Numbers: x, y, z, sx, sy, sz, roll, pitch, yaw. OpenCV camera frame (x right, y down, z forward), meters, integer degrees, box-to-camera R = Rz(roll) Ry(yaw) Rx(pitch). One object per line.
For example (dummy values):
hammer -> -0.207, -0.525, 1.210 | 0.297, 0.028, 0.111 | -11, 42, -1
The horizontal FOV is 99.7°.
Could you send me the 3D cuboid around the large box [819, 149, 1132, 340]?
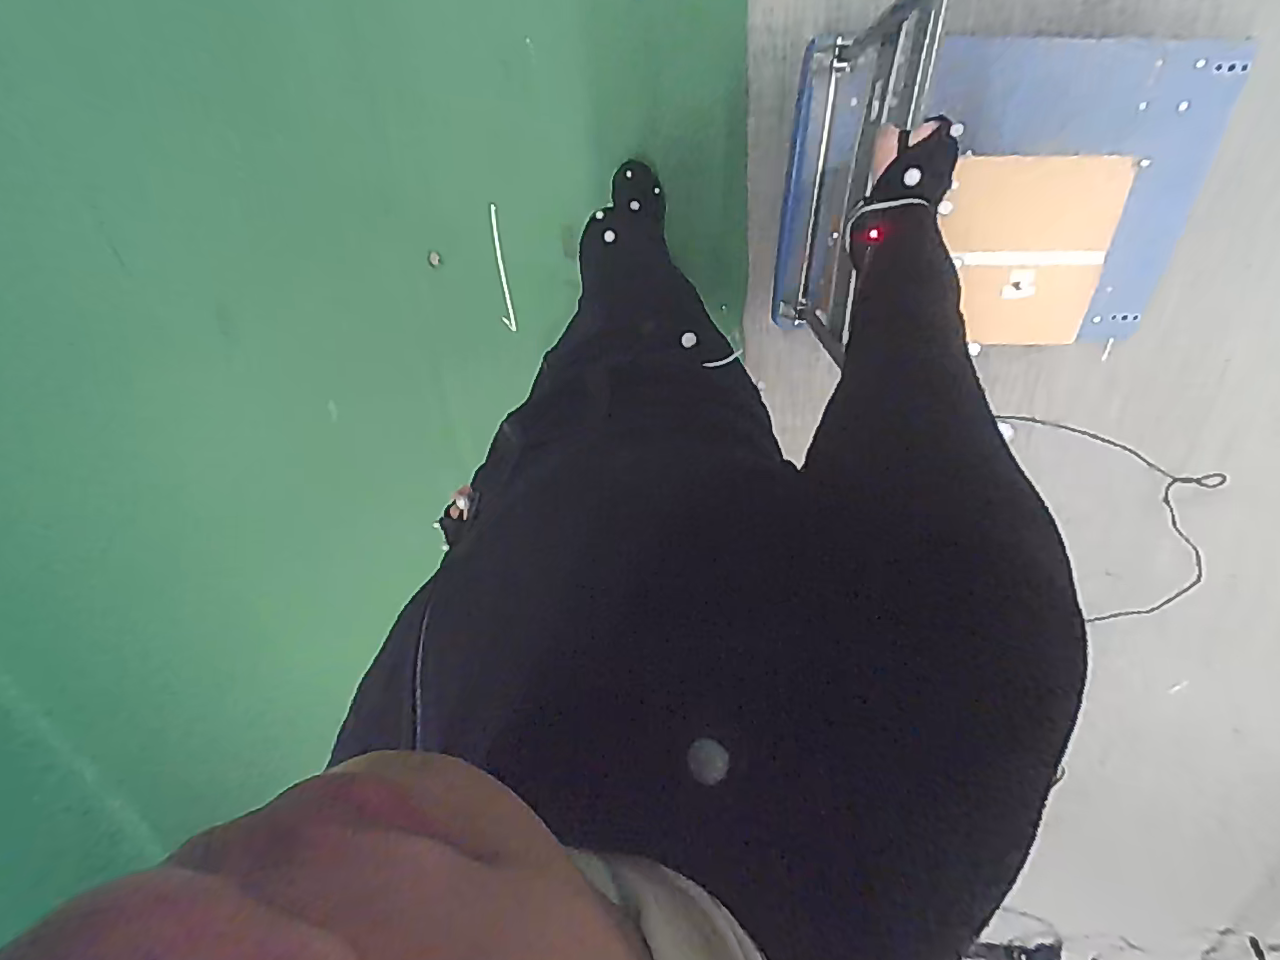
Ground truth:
large box -> 0.616, -0.475, 1.092 | 0.408, 0.320, 0.320 | 1, 119, 1
